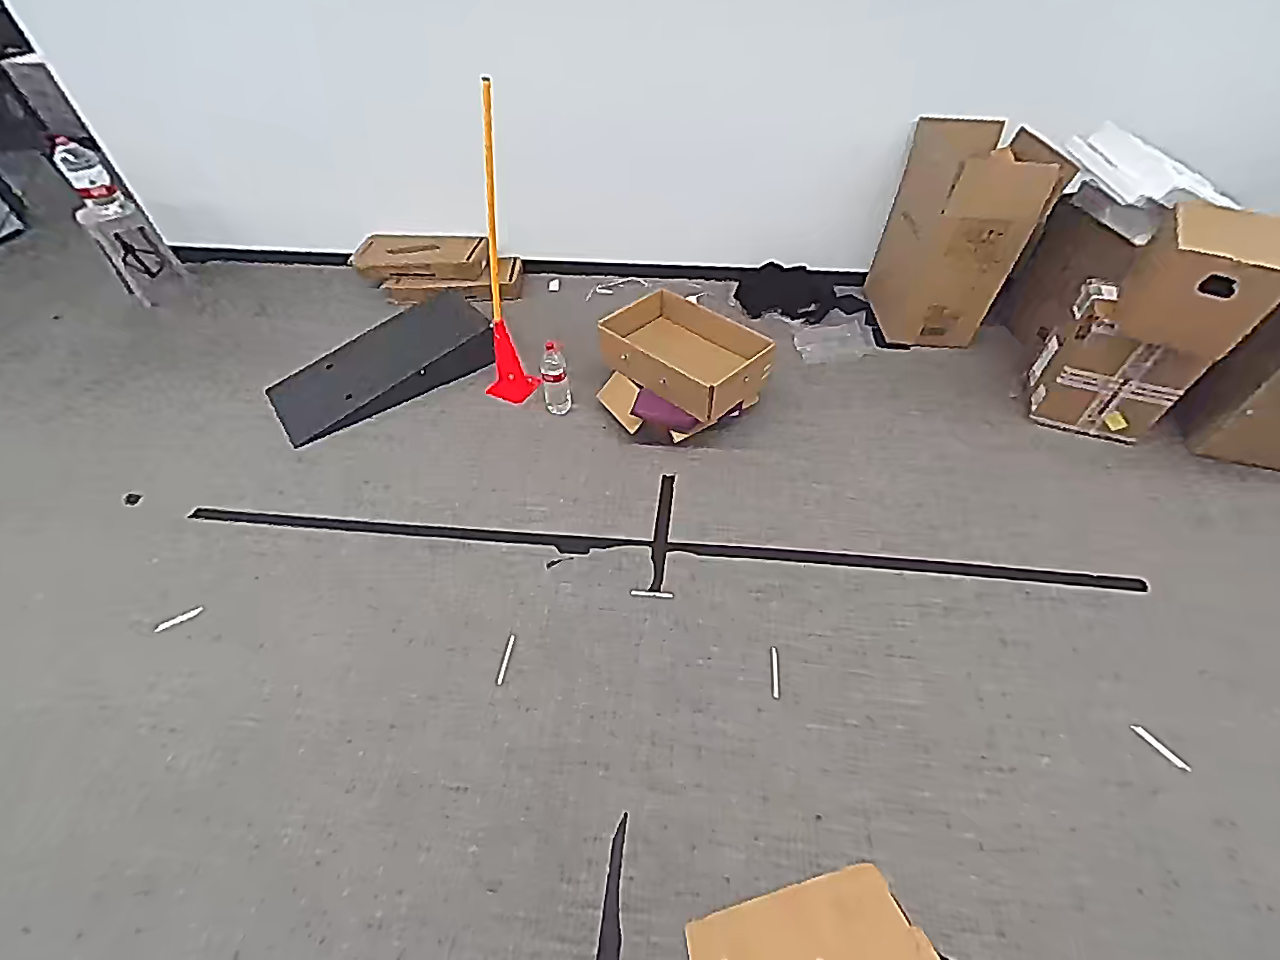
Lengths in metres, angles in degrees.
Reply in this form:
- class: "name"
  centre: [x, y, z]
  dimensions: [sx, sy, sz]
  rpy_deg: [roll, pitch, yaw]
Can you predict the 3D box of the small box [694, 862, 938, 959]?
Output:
- class: "small box"
  centre: [0.155, 0.447, 0.405]
  dimensions: [0.179, 0.176, 0.168]
  rpy_deg: [-17, 6, -1]
